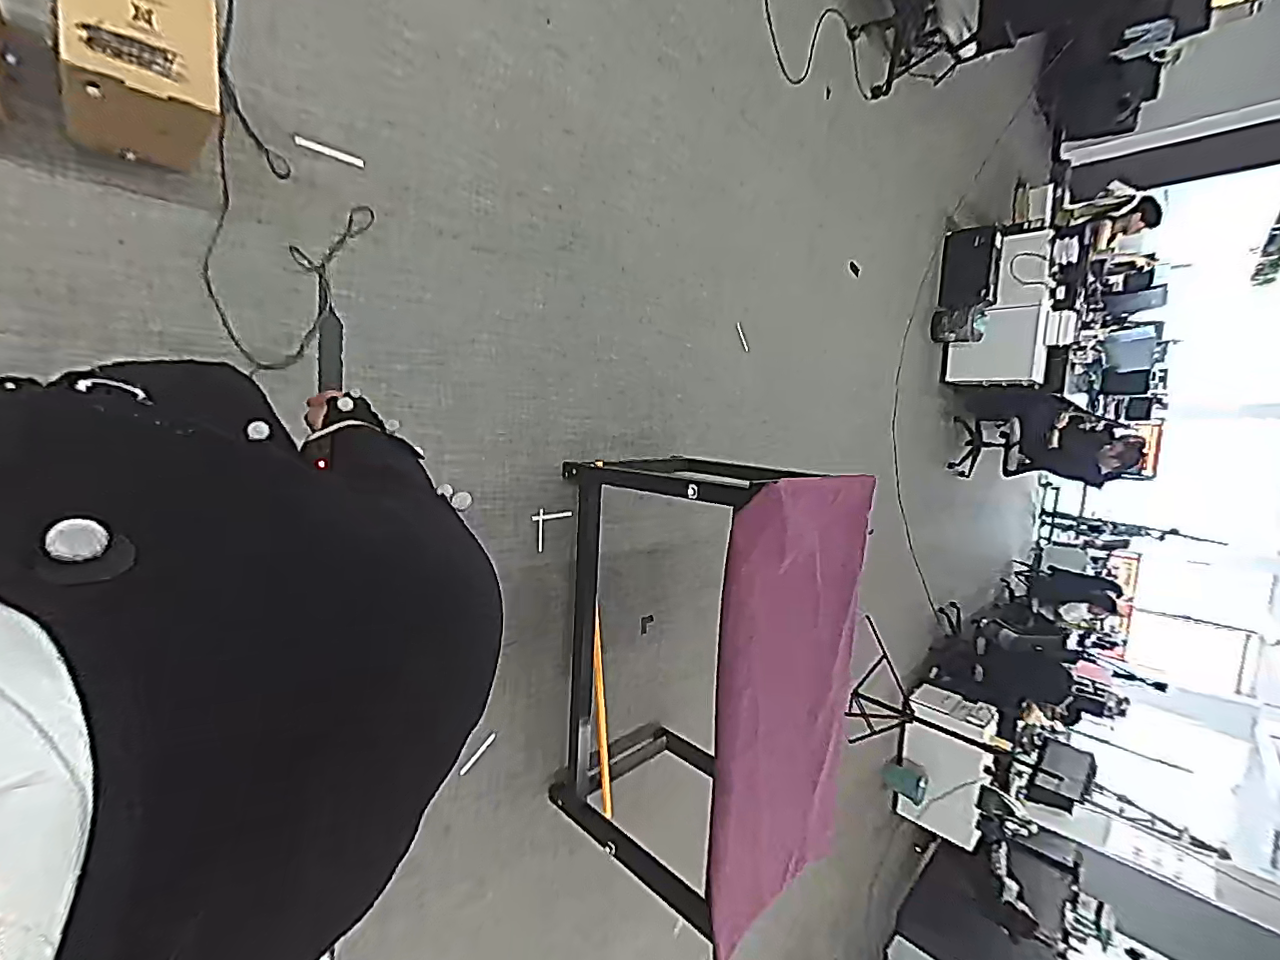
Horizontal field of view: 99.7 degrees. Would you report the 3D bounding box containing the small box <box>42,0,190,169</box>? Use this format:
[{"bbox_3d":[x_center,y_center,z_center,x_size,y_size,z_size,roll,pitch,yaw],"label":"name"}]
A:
[{"bbox_3d":[-0.869,-0.656,0.900,0.168,0.176,0.179,-4,101,-45],"label":"small box"}]
